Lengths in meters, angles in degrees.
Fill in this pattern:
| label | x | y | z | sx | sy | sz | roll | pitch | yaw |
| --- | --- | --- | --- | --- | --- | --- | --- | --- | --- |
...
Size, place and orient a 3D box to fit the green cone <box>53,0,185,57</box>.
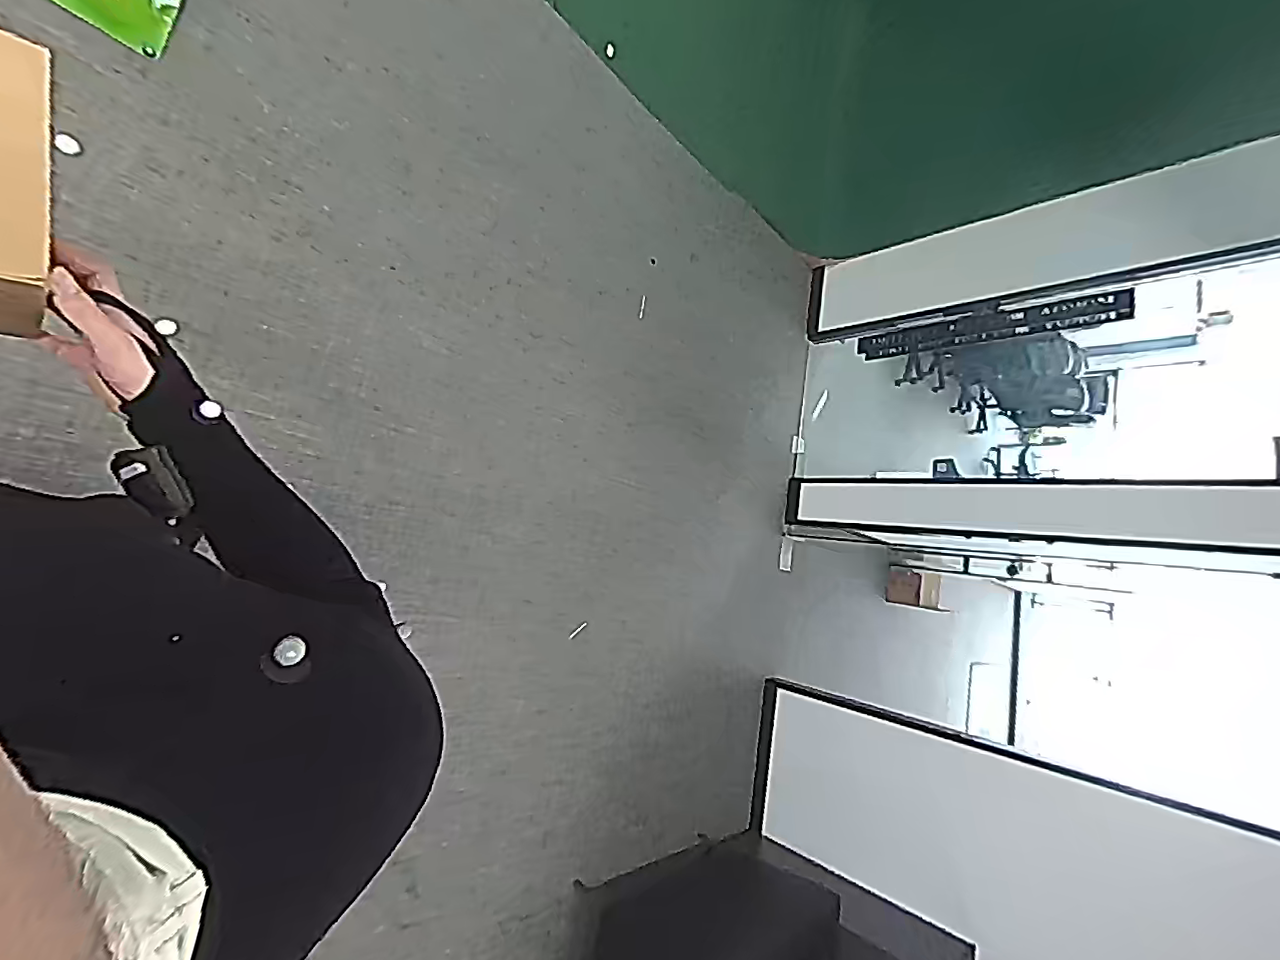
| label | x | y | z | sx | sy | sz | roll | pitch | yaw |
| --- | --- | --- | --- | --- | --- | --- | --- | --- | --- |
| green cone | -1.023 | -1.073 | 1.059 | 0.202 | 0.368 | 0.200 | 18 | 77 | -42 |
